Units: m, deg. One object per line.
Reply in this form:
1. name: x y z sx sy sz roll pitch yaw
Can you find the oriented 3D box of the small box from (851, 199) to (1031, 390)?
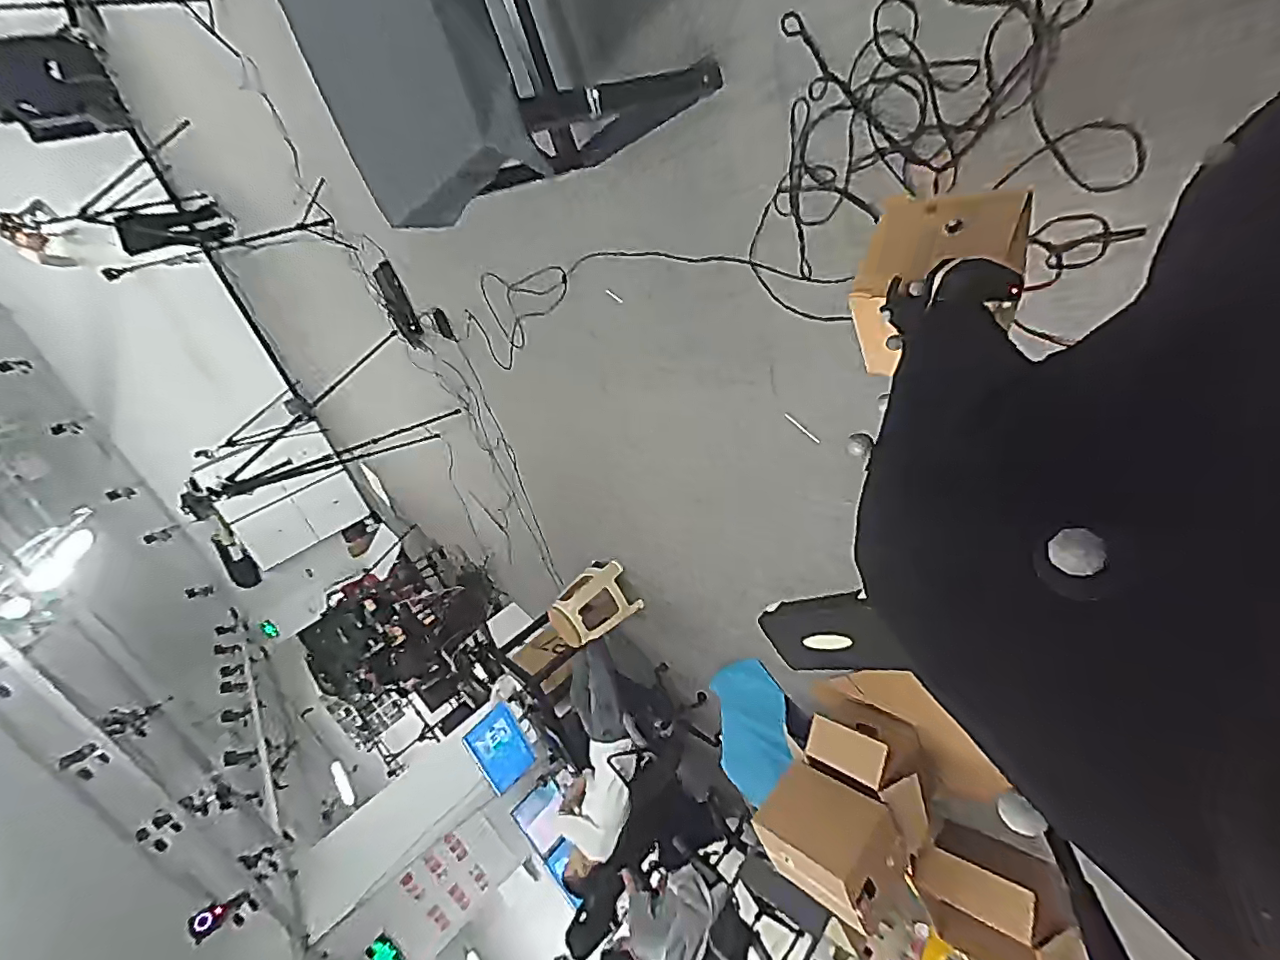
1. small box: 0.415 -0.250 0.743 0.168 0.176 0.179 17 163 39
